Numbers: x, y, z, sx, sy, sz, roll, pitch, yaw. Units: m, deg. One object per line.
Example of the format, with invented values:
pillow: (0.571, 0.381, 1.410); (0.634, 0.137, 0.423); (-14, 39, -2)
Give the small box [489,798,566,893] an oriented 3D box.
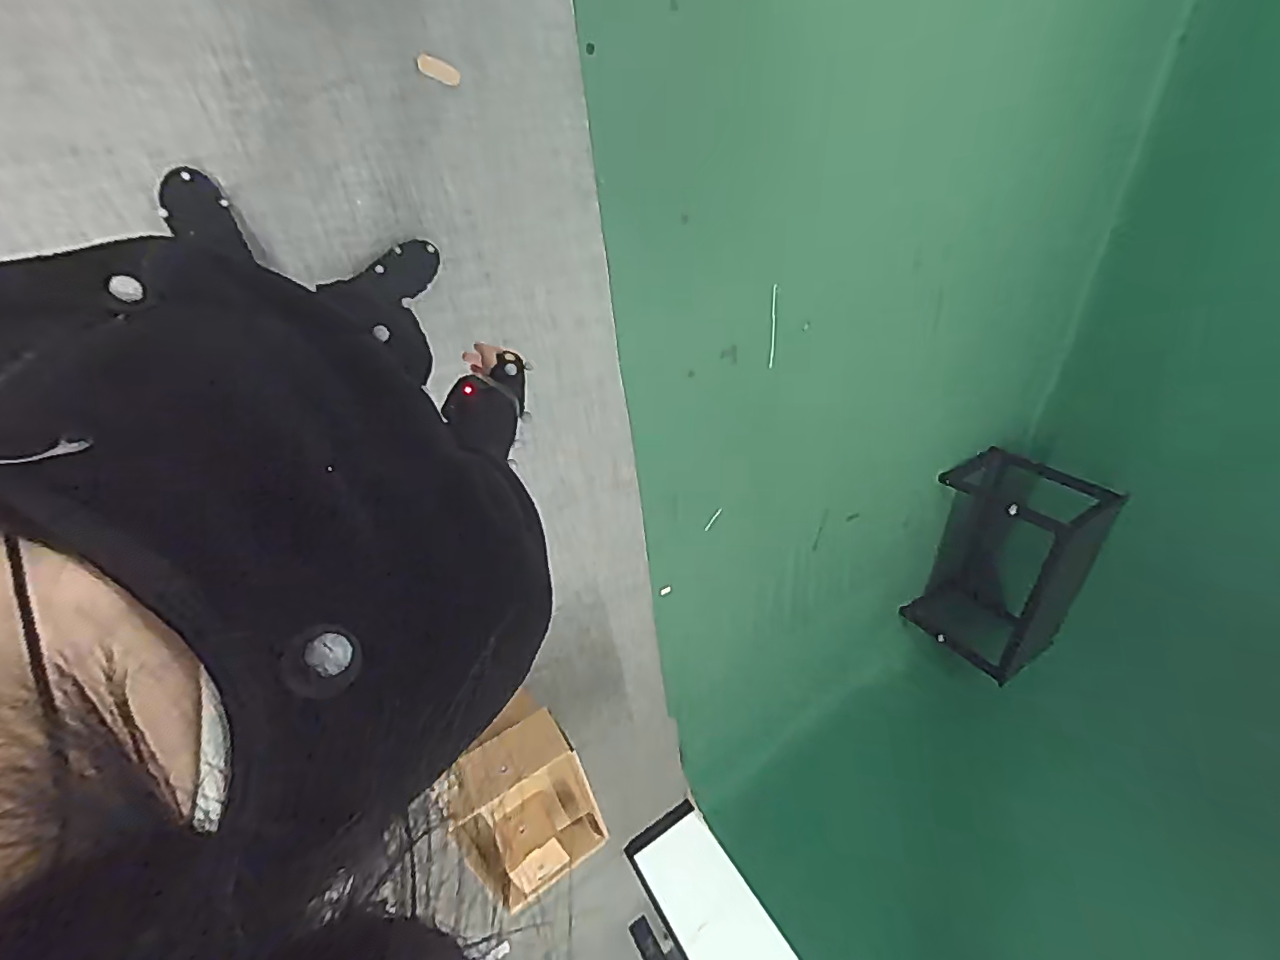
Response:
small box: (-0.369, 1.180, 1.760); (0.168, 0.176, 0.179); (-28, 127, -19)
